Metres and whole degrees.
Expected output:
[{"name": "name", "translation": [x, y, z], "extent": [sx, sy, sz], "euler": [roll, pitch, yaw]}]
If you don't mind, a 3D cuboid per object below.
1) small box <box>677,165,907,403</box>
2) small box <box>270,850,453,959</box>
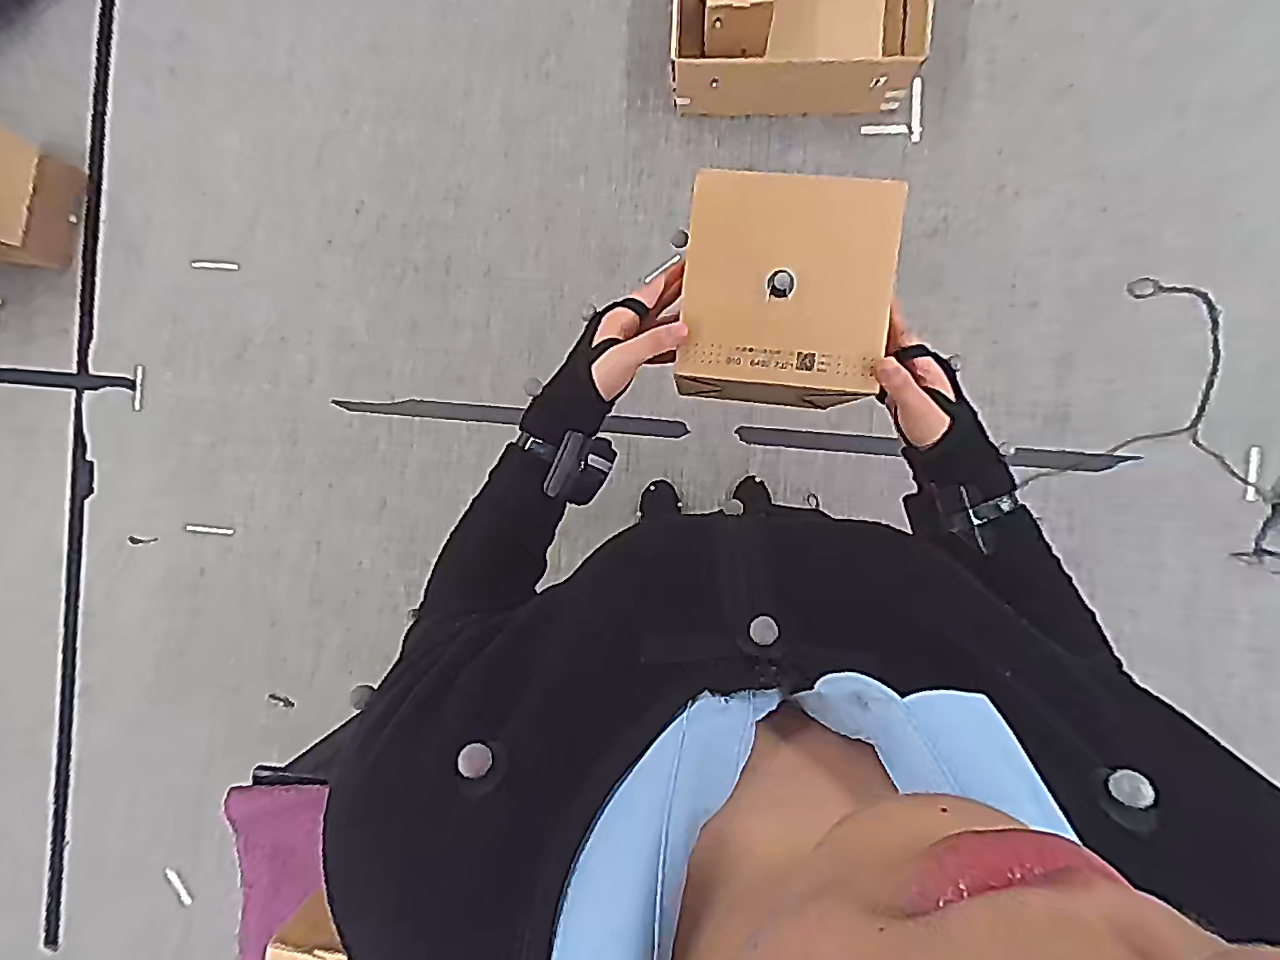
[{"name": "small box", "translation": [0.127, -0.166, 0.510], "extent": [0.168, 0.179, 0.176], "euler": [7, 95, 5]}, {"name": "small box", "translation": [-0.372, 0.656, 0.734], "extent": [0.168, 0.176, 0.179], "euler": [8, 92, 5]}]
